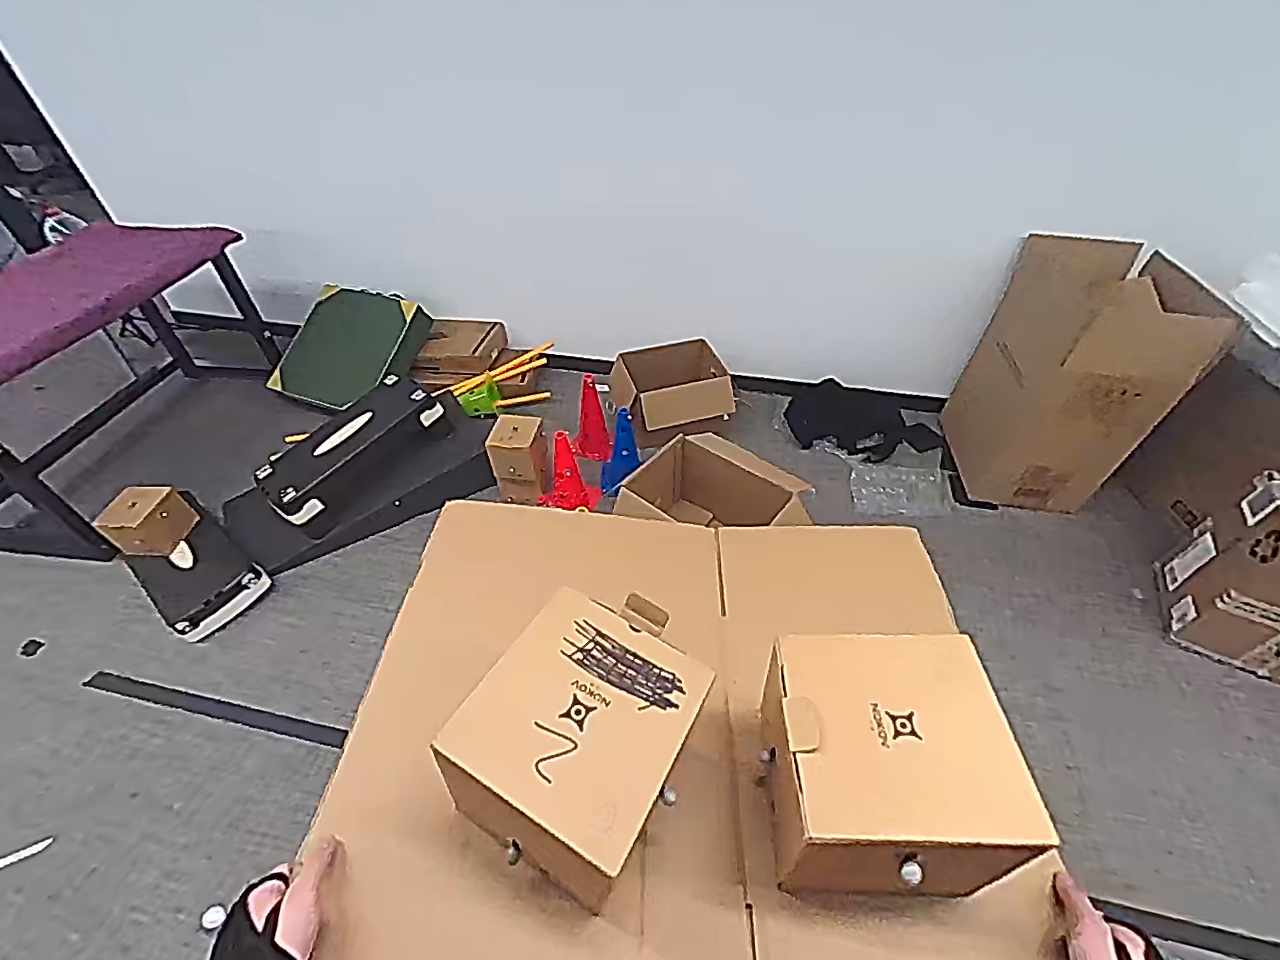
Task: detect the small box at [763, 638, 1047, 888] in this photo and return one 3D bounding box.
[{"bbox_3d":[0.220,0.265,0.509,0.179,0.176,0.168,-1,43,4],"label":"small box"}]
